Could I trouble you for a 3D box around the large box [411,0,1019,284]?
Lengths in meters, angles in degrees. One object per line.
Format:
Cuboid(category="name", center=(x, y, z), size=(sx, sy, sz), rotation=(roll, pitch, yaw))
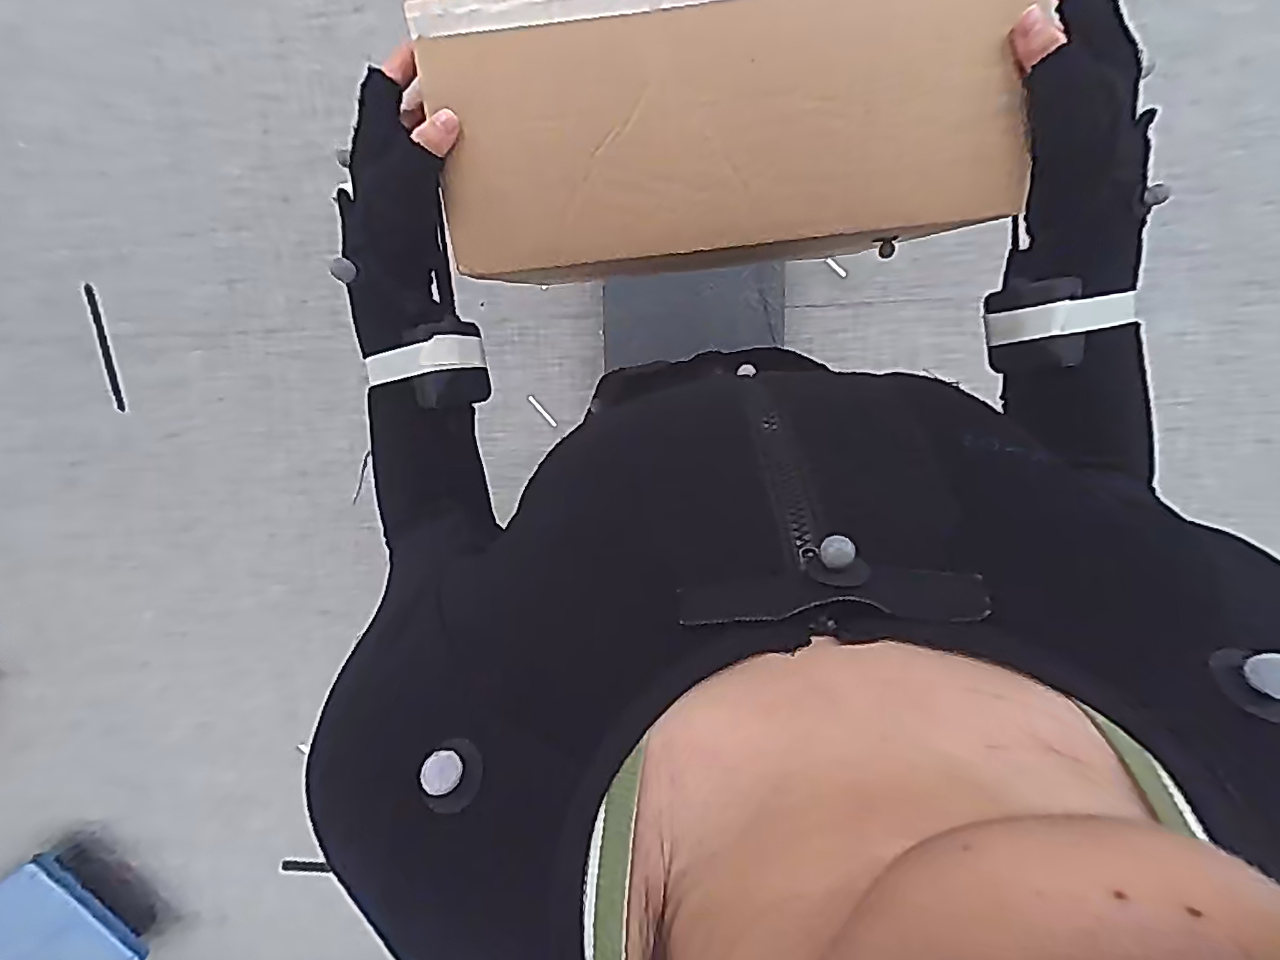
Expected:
Cuboid(category="large box", center=(0.051, -0.364, 0.492), size=(0.408, 0.320, 0.320), rotation=(-6, 108, 2))
